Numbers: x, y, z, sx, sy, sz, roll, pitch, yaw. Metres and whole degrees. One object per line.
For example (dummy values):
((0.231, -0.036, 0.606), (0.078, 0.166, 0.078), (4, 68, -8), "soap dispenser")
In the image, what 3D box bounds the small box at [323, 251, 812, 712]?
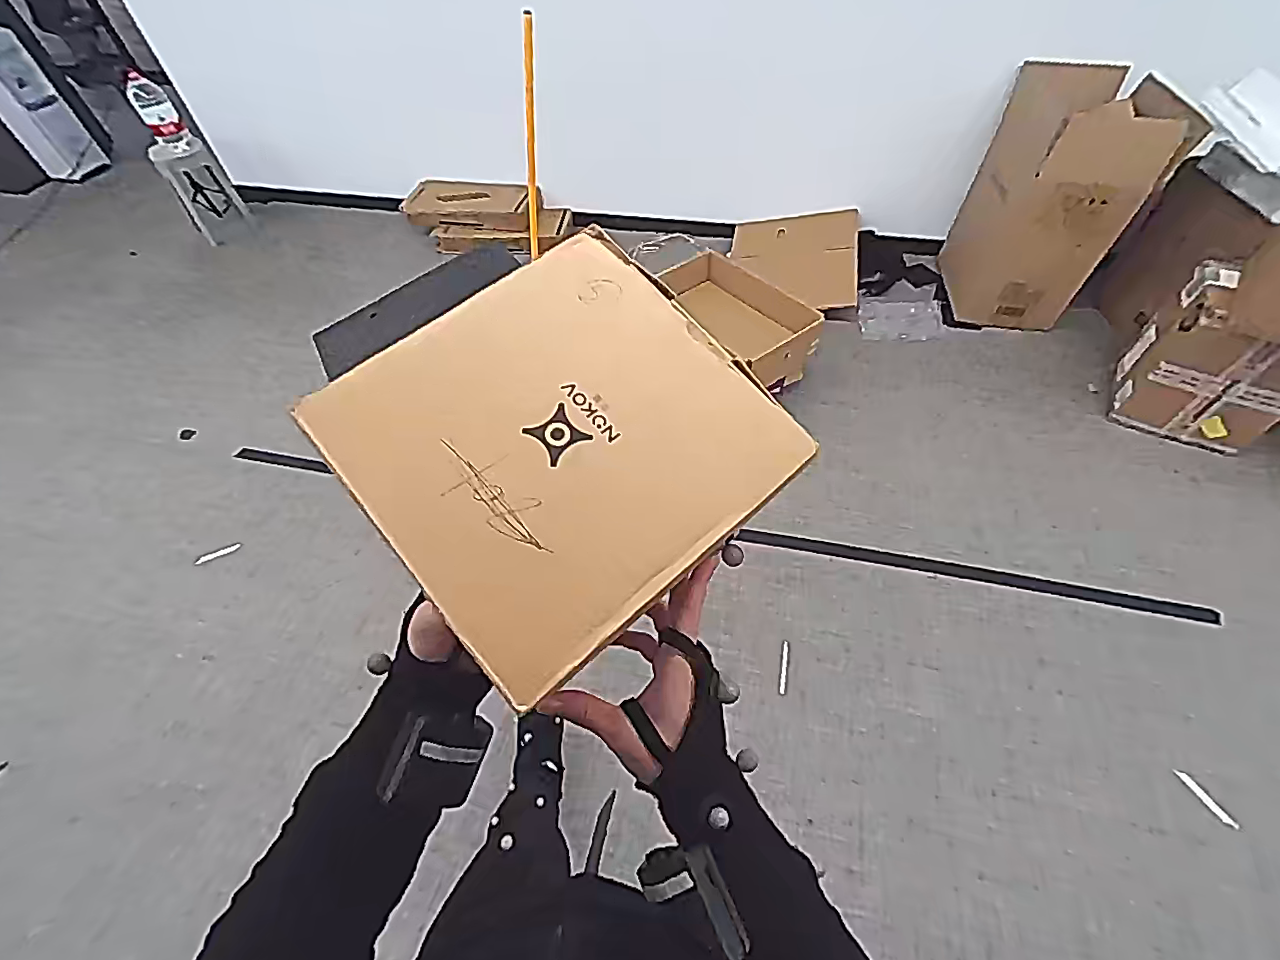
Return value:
((-0.038, 0.010, 0.330), (0.179, 0.176, 0.168), (-39, 78, -16), "small box")
